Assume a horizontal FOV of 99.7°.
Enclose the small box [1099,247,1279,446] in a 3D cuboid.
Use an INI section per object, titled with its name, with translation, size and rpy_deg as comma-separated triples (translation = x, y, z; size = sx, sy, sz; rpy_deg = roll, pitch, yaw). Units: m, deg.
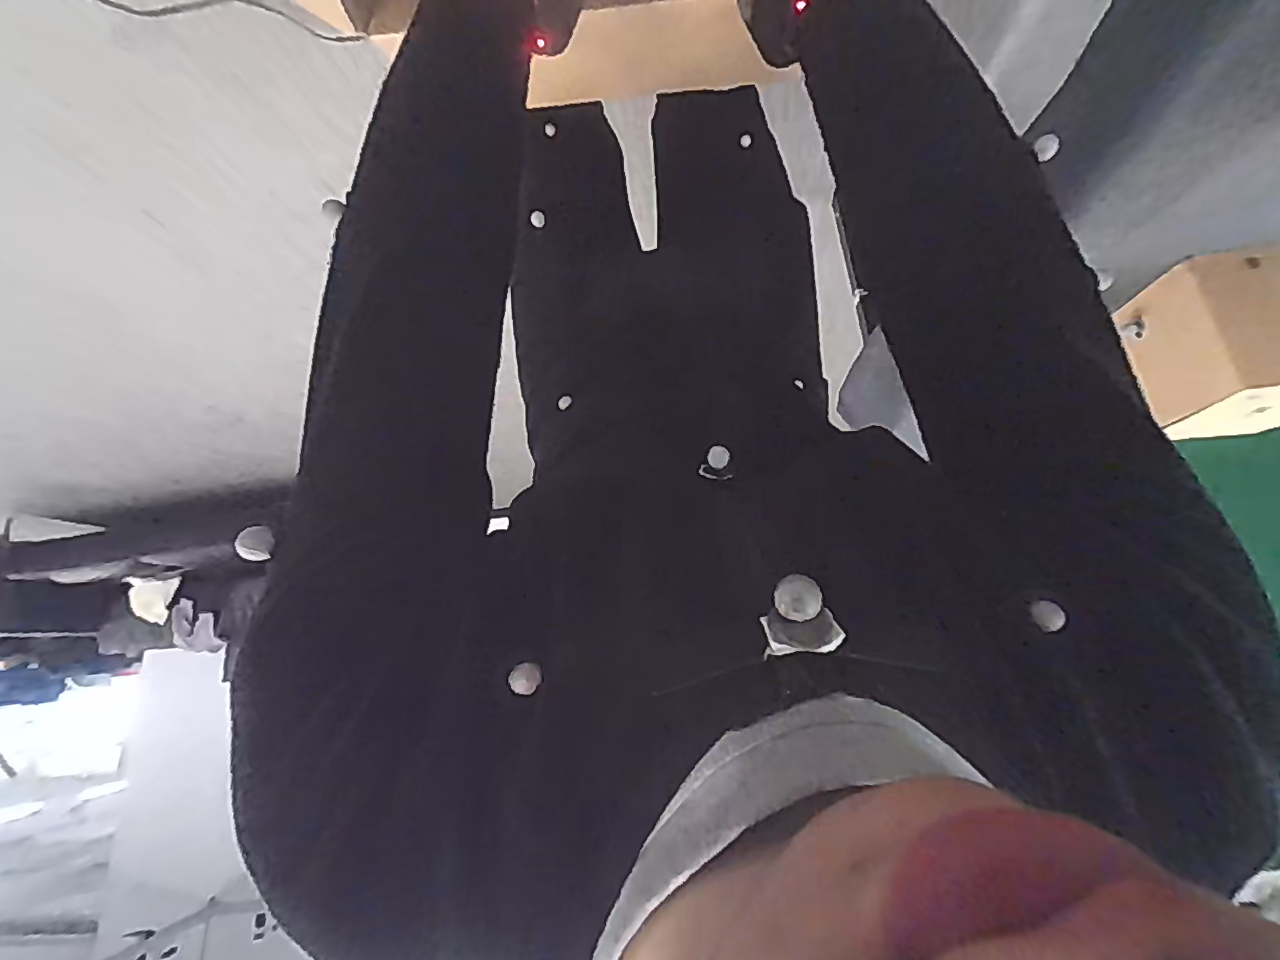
[small box]
translation = 0.702, -0.153, 0.648
size = 0.168, 0.176, 0.179
rpy_deg = -7, 164, 6
